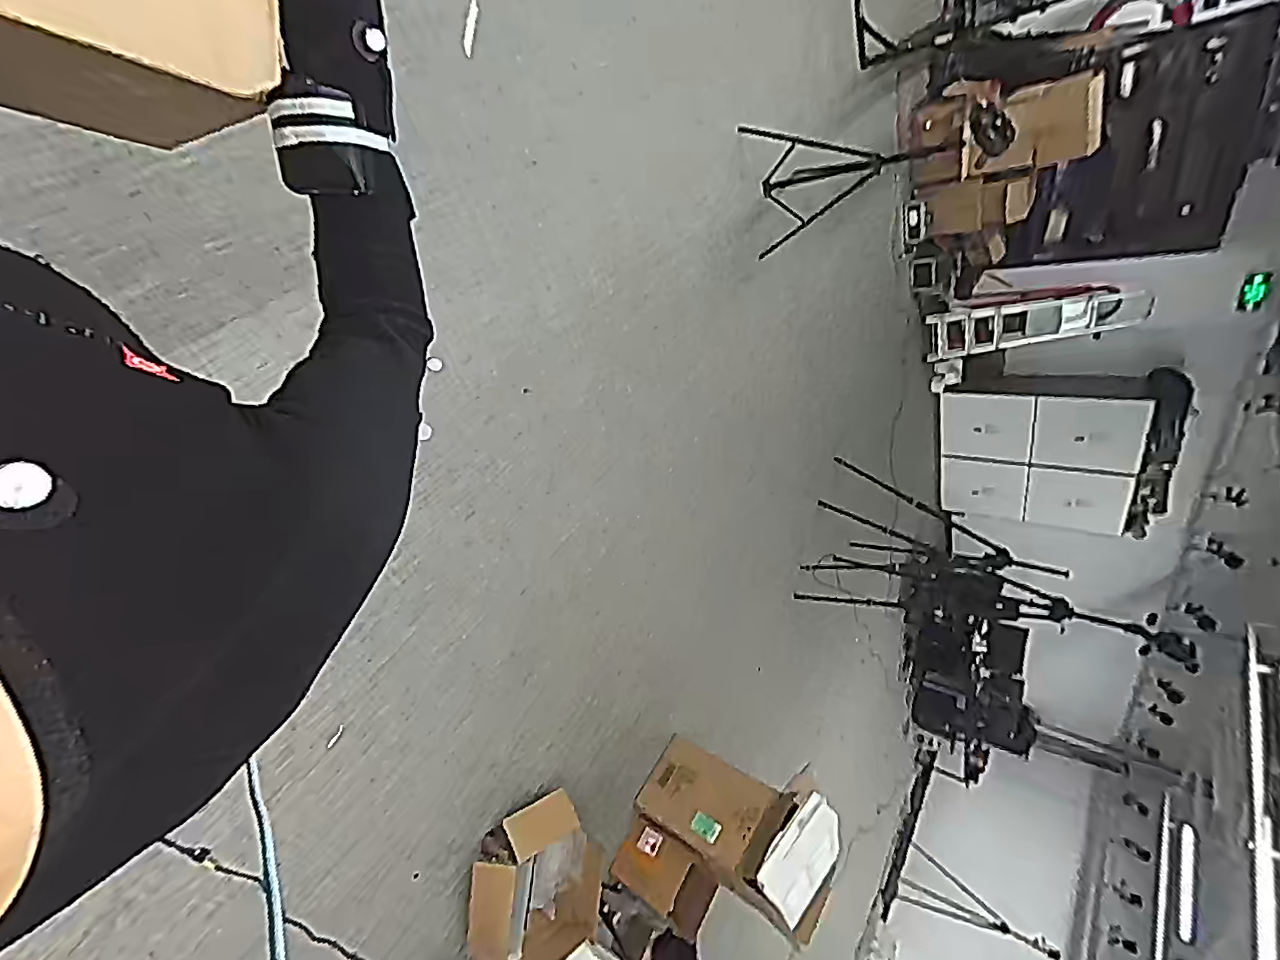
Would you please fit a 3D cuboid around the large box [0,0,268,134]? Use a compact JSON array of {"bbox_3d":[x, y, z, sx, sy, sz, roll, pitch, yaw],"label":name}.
[{"bbox_3d":[-0.489,-0.430,0.279,0.408,0.320,0.320,-13,116,-50],"label":"large box"}]
